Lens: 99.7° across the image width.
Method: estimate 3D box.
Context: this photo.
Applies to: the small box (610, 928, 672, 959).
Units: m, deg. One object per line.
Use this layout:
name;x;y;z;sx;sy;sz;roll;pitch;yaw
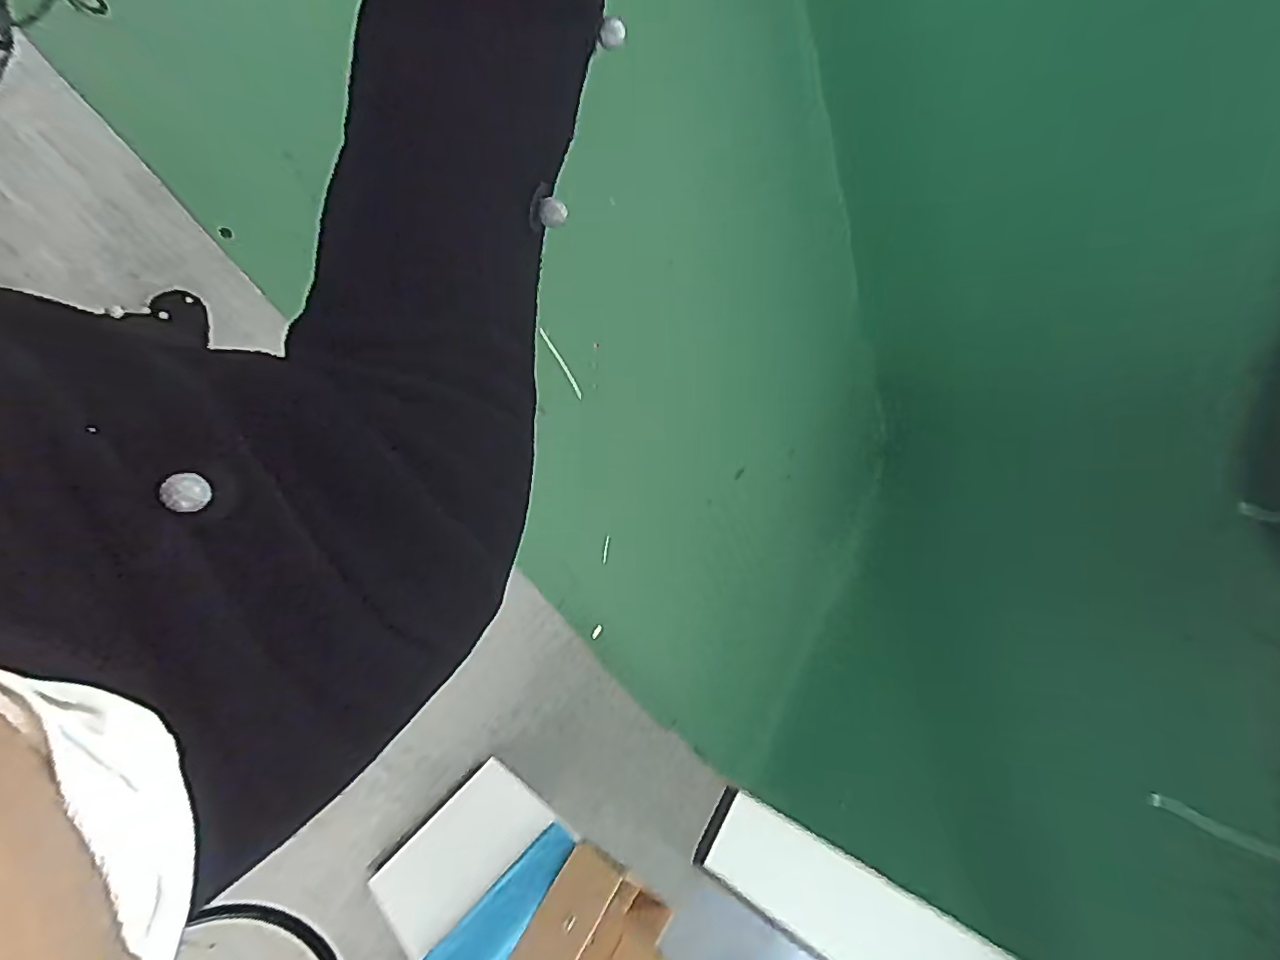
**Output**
small box;0.005;1.351;1.441;0.179;0.176;0.168;-51;132;-26
